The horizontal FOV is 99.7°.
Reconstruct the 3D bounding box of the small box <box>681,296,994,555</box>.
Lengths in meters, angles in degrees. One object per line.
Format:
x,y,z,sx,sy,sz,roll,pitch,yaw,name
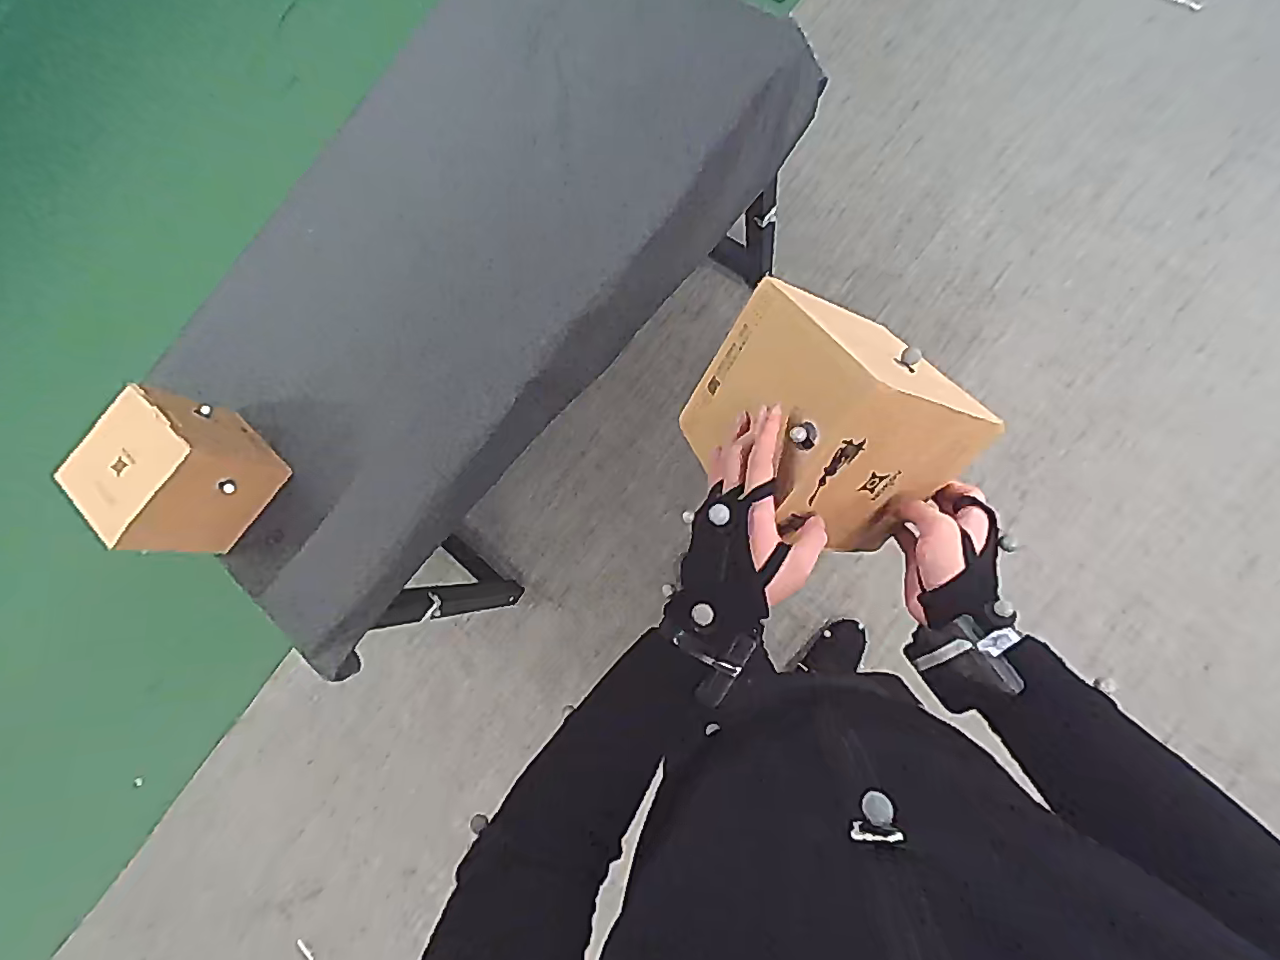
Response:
0.170,-0.047,0.509,0.168,0.179,0.176,-59,39,33,small box

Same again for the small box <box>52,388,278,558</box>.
-0.689,-0.001,0.809,0.168,0.176,0.179,41,90,17,small box
